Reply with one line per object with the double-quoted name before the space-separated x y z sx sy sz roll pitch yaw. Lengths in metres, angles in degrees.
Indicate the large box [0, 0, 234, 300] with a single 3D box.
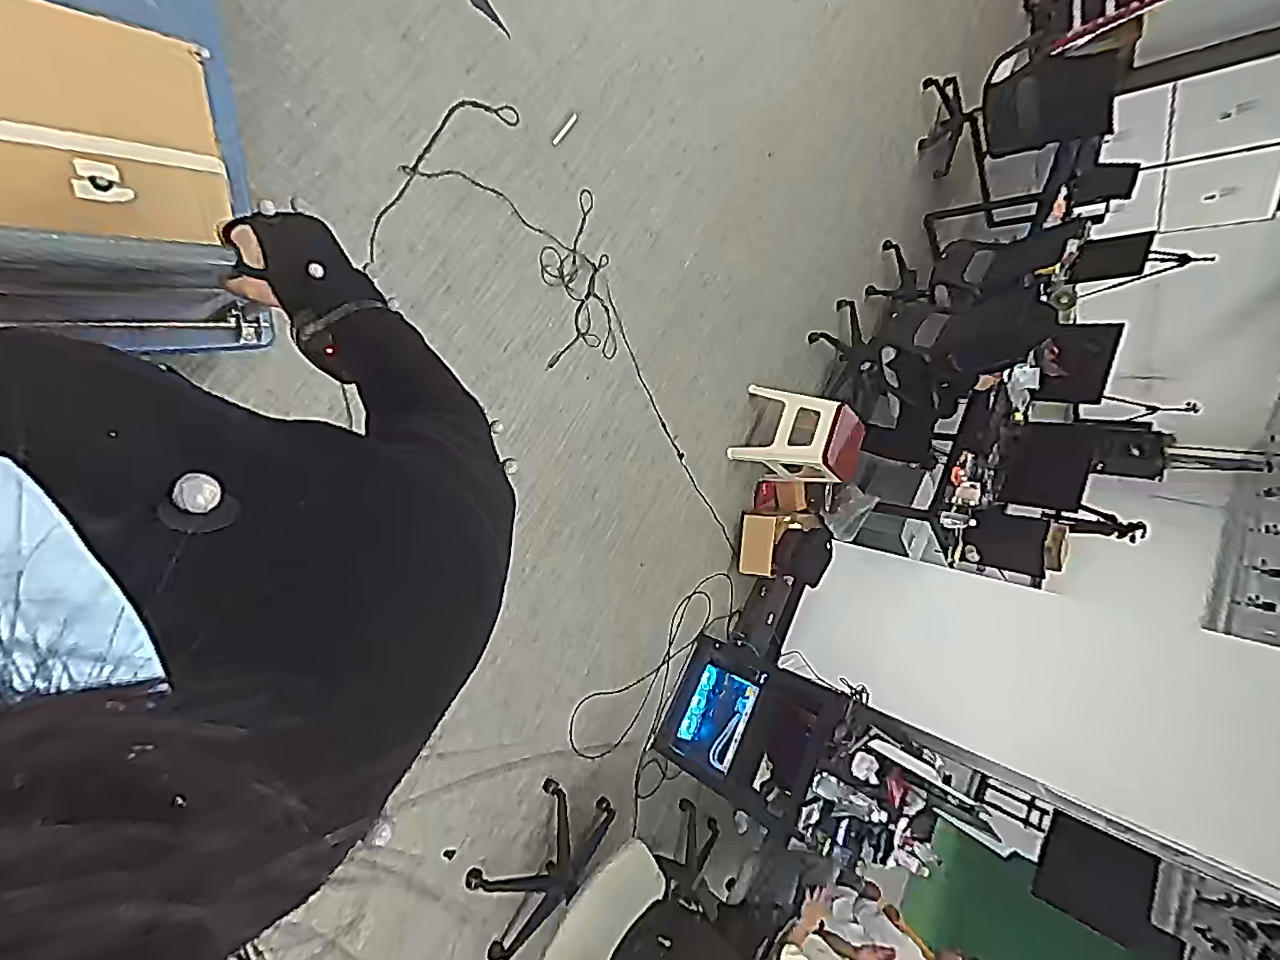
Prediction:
"large box" -0.870 -0.431 0.754 0.408 0.320 0.320 -15 109 -44
